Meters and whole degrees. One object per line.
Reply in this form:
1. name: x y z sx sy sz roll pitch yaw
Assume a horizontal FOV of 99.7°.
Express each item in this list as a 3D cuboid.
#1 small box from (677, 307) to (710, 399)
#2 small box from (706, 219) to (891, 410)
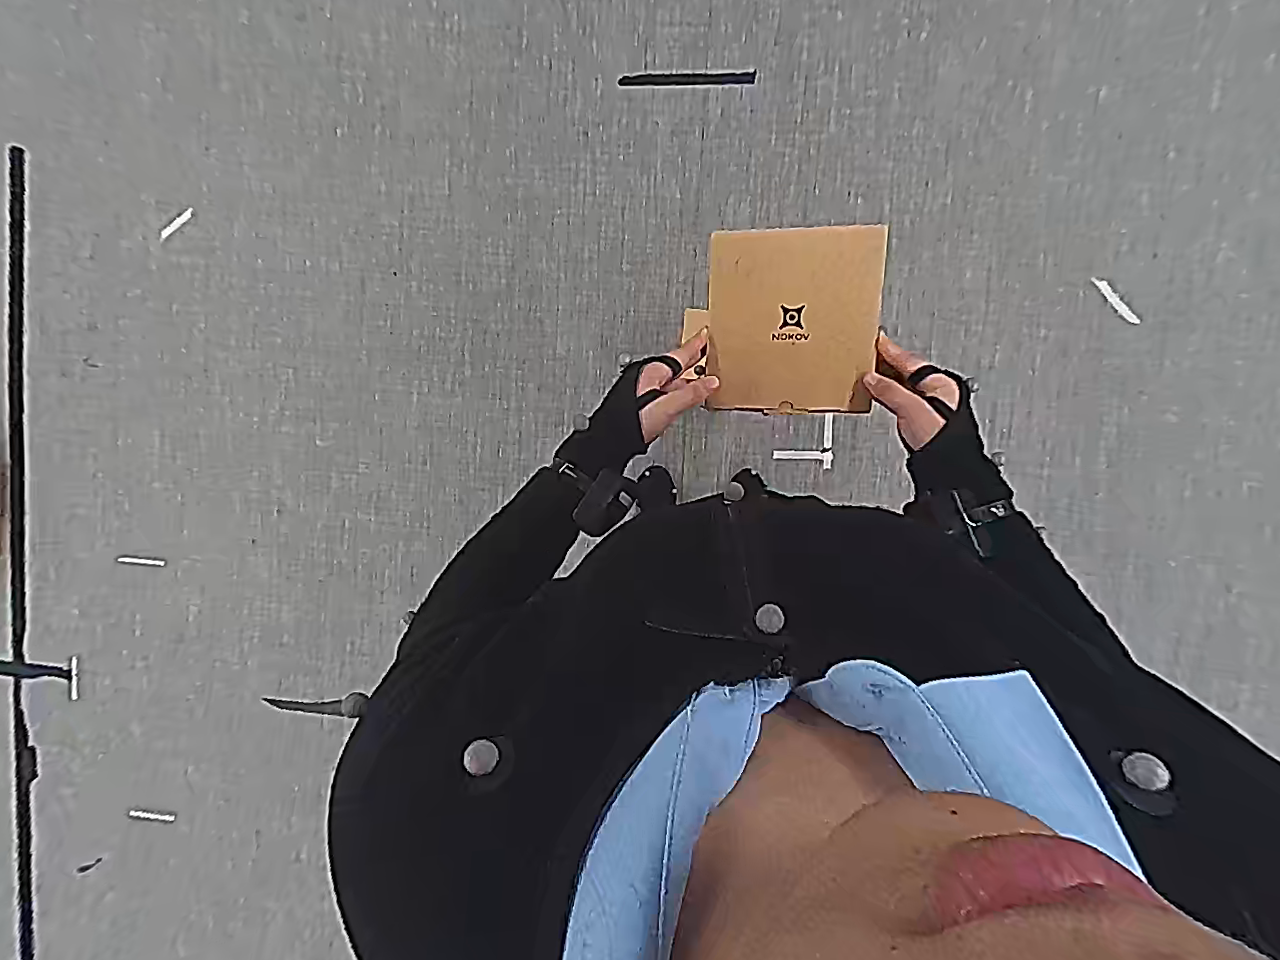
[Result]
1. small box: 0.177 -0.277 1.233 0.168 0.176 0.179 8 94 5
2. small box: 0.162 -0.173 0.599 0.168 0.176 0.179 3 103 10
